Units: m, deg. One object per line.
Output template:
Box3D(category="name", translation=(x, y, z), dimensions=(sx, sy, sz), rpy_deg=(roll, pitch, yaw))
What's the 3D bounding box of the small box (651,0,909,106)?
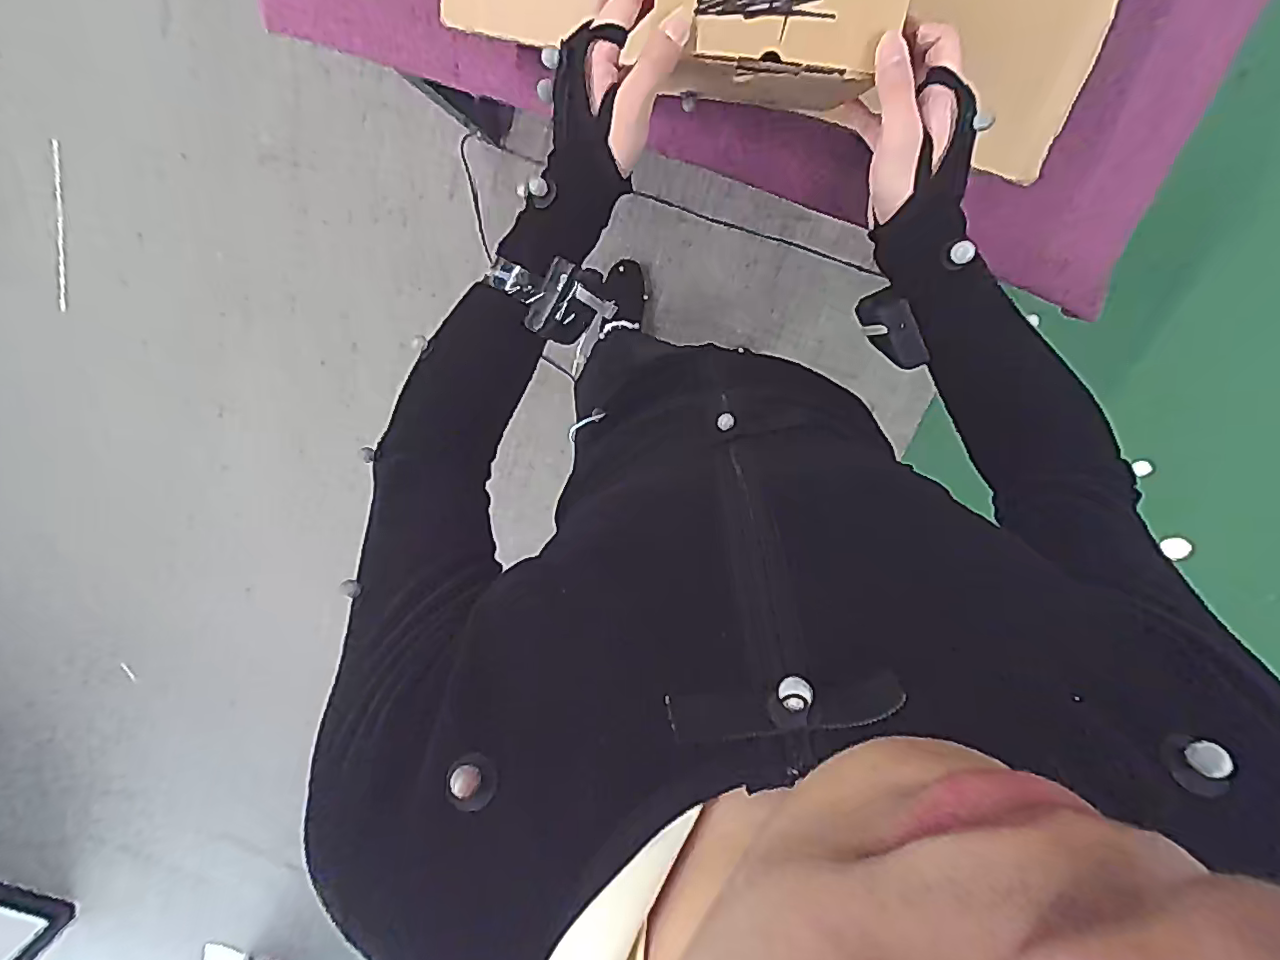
Box3D(category="small box", translation=(0.102, -0.393, 0.395), dimensions=(0.168, 0.176, 0.179), rpy_deg=(6, 118, 0))
